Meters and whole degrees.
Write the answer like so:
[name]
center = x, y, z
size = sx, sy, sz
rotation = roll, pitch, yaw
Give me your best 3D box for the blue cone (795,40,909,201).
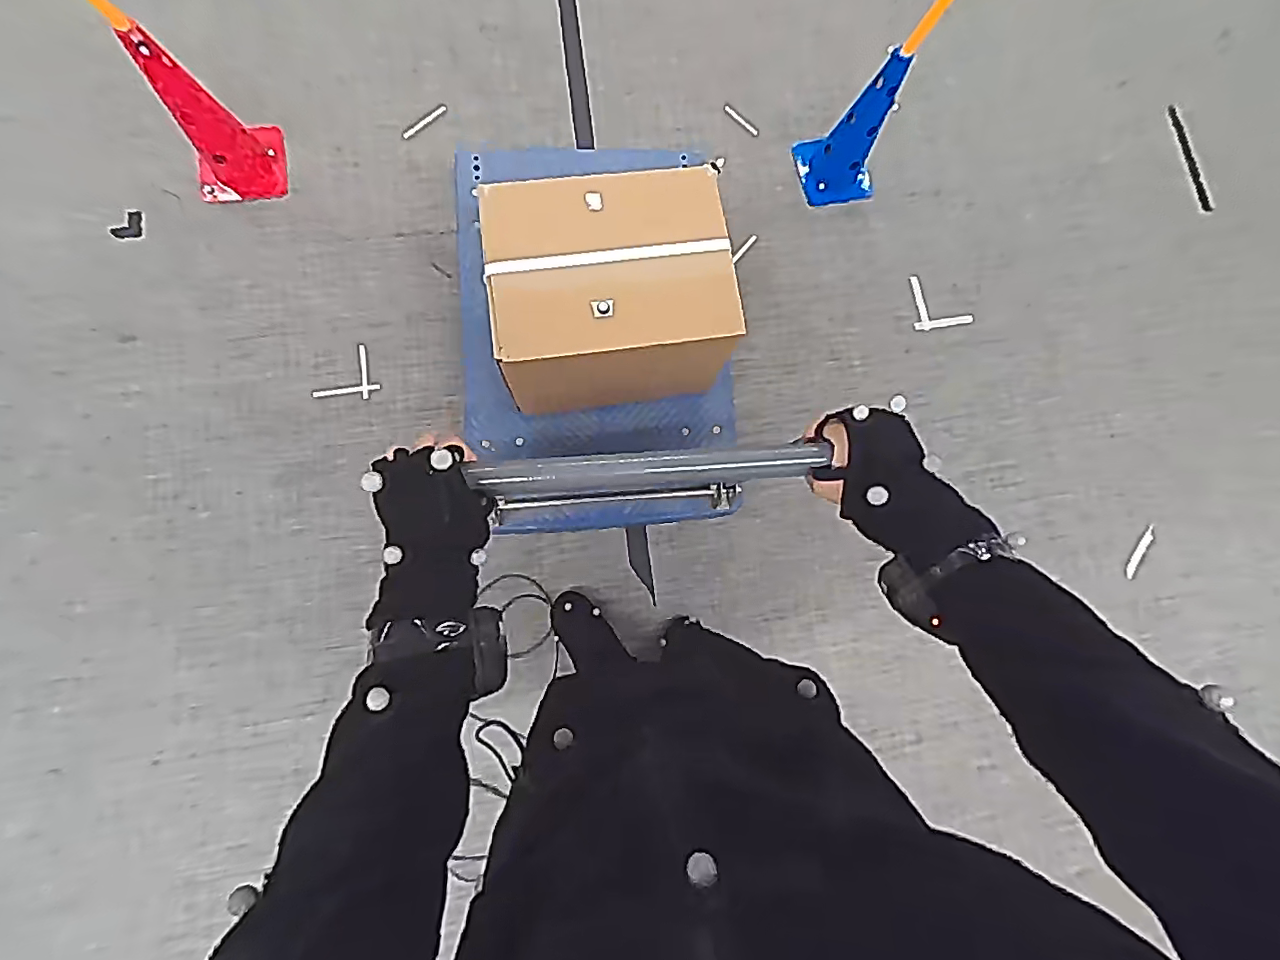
[blue cone]
center = 0.558, -0.903, 1.360
size = 0.193, 0.380, 0.192
rotation = -11, 81, -8
